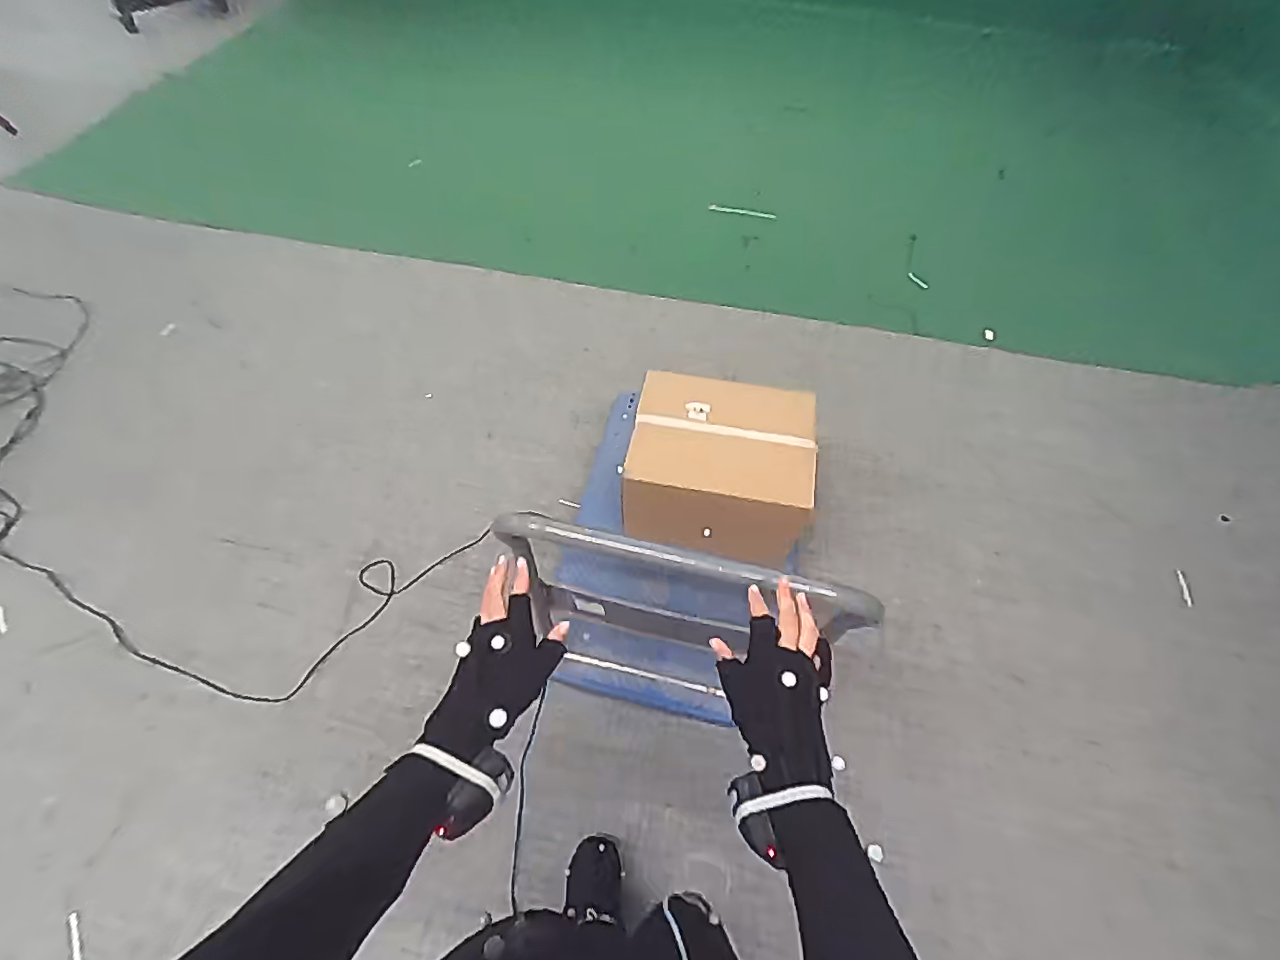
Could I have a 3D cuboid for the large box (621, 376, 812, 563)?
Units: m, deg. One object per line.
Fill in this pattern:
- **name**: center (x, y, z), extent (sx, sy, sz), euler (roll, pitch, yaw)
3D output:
- **large box**: center (0.184, -0.019, 1.332), extent (0.408, 0.320, 0.320), euler (9, 58, 6)
